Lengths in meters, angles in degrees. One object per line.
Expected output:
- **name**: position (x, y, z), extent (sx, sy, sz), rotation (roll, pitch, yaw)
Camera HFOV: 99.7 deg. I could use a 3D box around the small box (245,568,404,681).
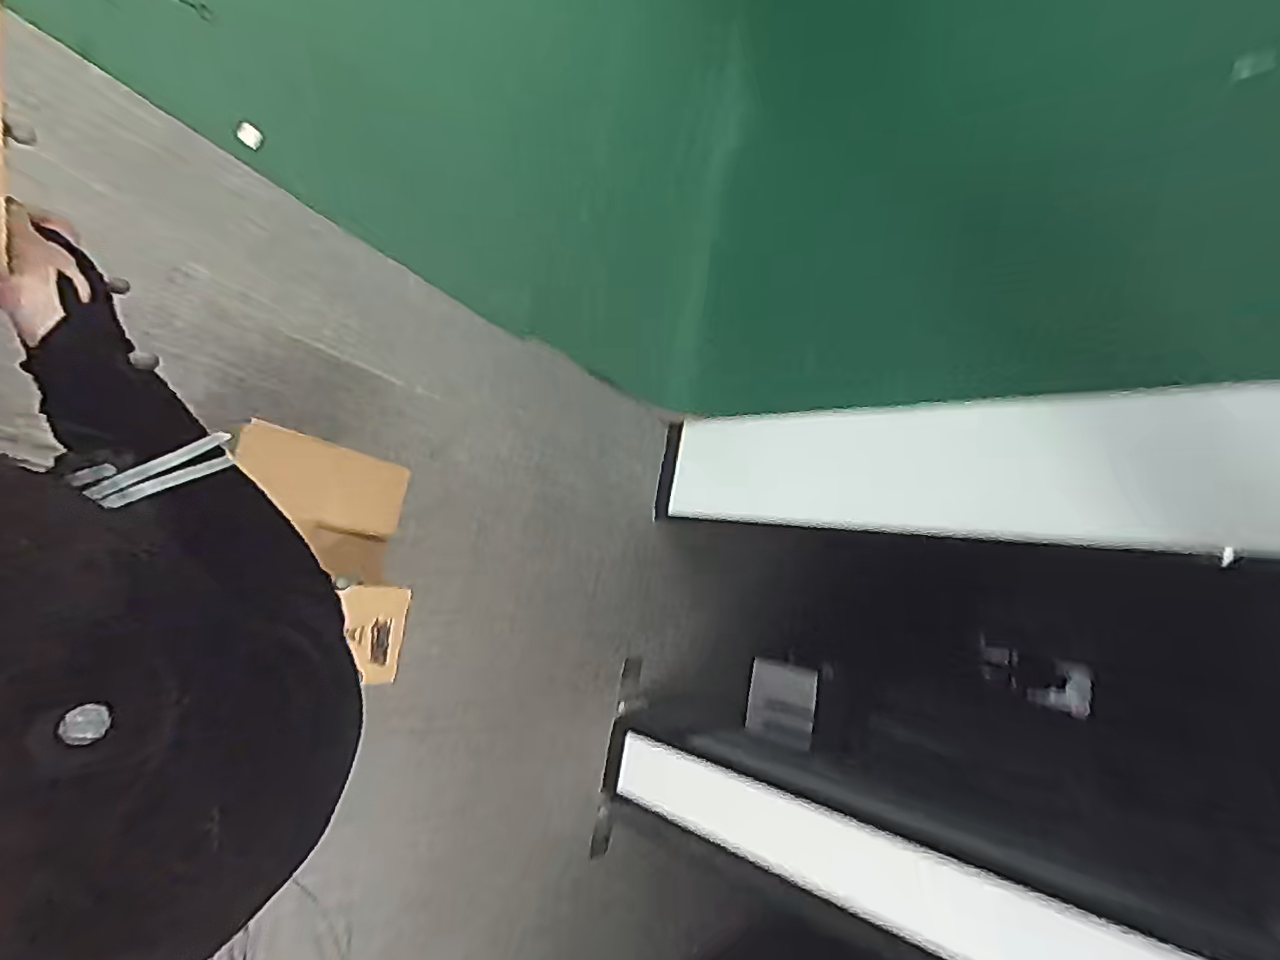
- **small box**: position (-0.561, 0.253, 0.968), extent (0.179, 0.176, 0.168), rotation (21, 74, -50)
